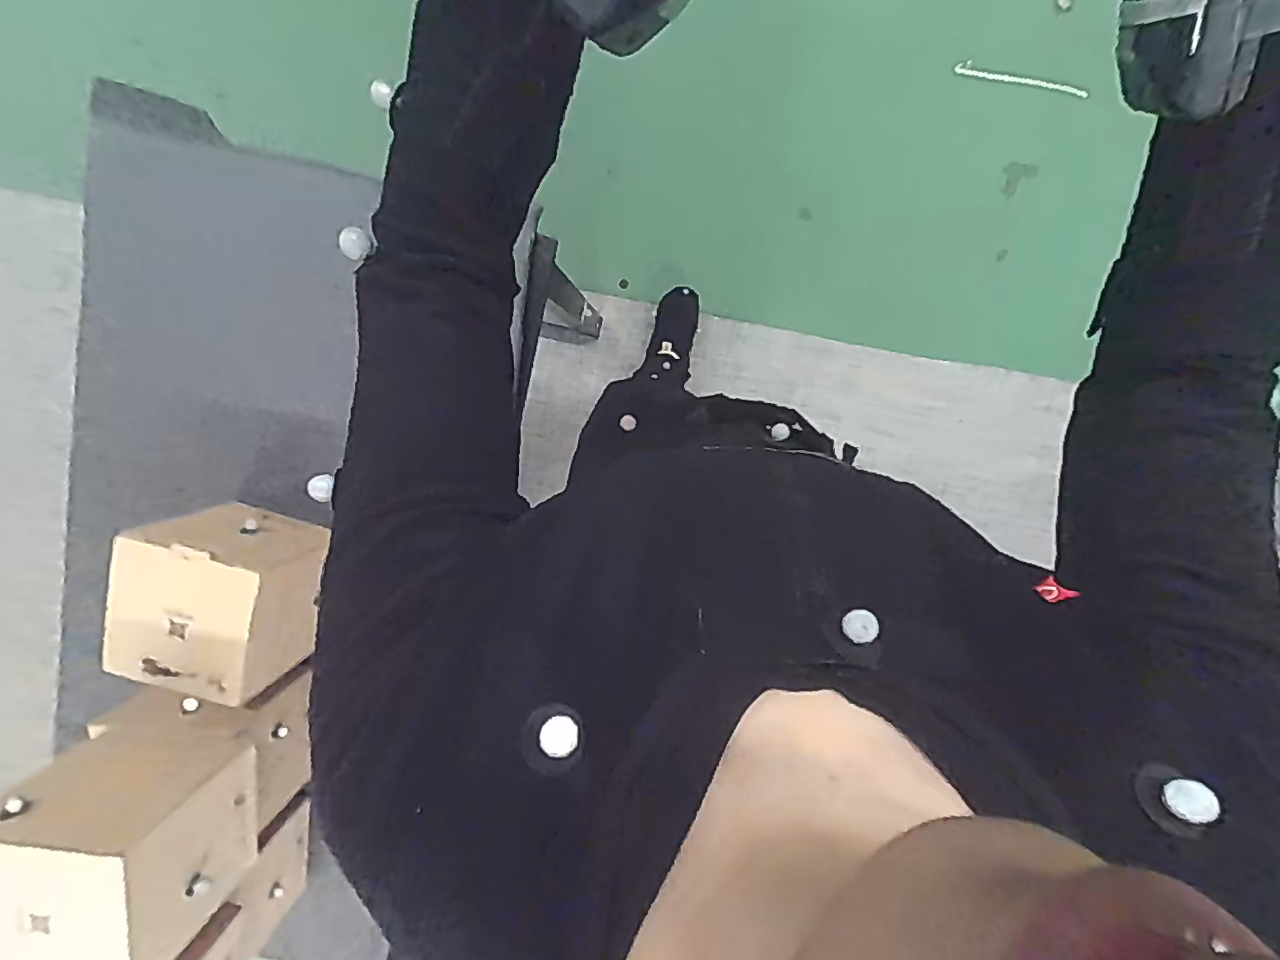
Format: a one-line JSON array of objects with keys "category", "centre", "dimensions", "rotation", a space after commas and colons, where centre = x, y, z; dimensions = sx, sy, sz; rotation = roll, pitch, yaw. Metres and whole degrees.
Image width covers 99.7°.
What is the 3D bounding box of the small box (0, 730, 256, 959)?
[{"category": "small box", "centre": [-0.541, 0.388, 0.567], "dimensions": [0.179, 0.176, 0.168], "rotation": [5, 98, 1]}]
